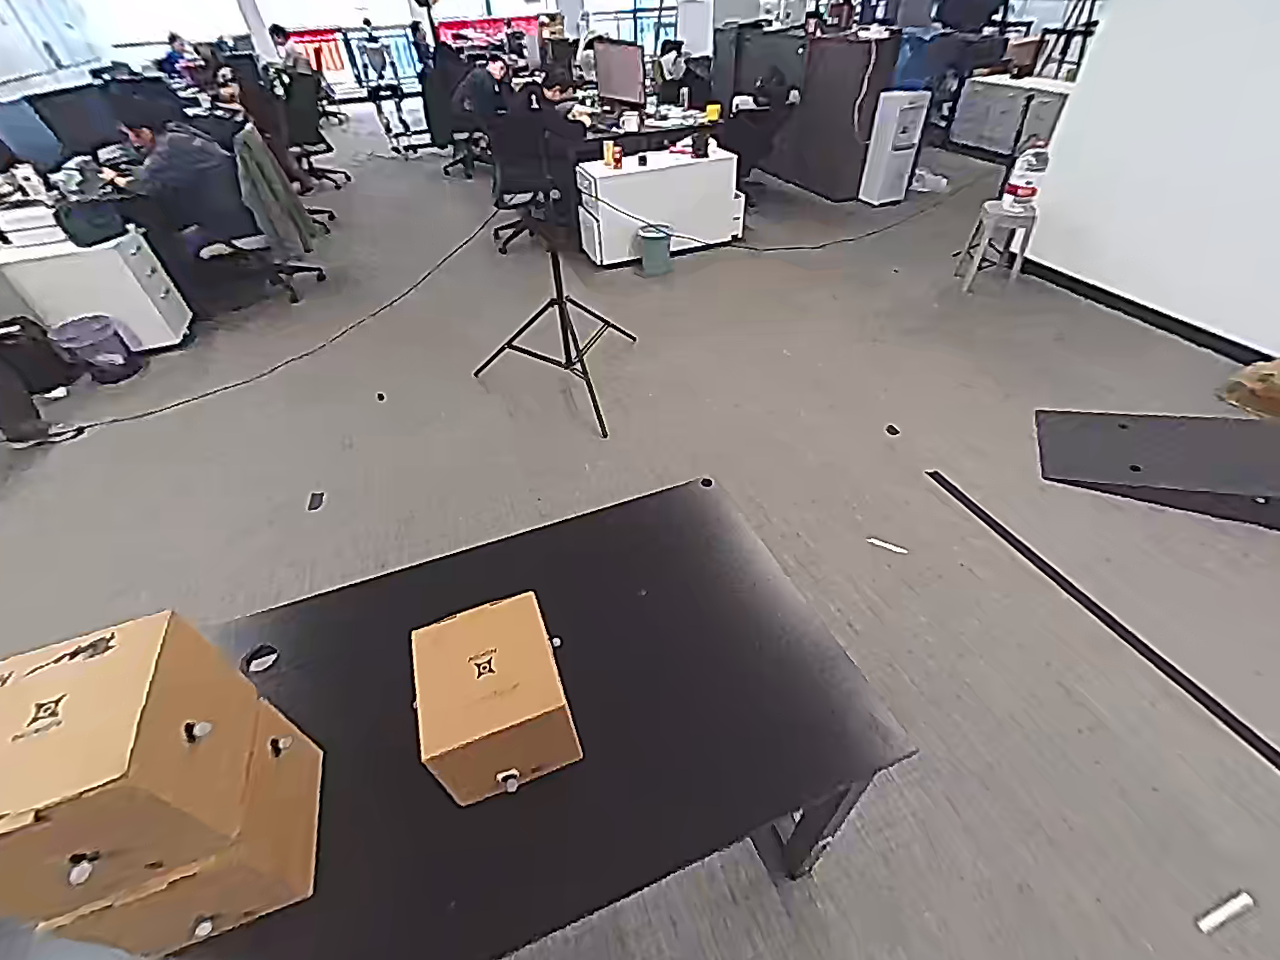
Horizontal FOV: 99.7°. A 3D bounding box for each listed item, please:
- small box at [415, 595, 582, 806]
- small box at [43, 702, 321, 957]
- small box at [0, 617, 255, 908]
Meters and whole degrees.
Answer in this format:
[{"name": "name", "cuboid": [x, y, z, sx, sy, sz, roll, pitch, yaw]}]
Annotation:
[{"name": "small box", "cuboid": [-0.185, 0.291, 0.720, 0.168, 0.176, 0.179, -18, 45, -14]}, {"name": "small box", "cuboid": [-0.490, 0.396, 0.619, 0.168, 0.176, 0.179, -16, 44, -13]}, {"name": "small box", "cuboid": [-0.502, 0.270, 0.515, 0.168, 0.176, 0.179, -17, 45, -15]}]
